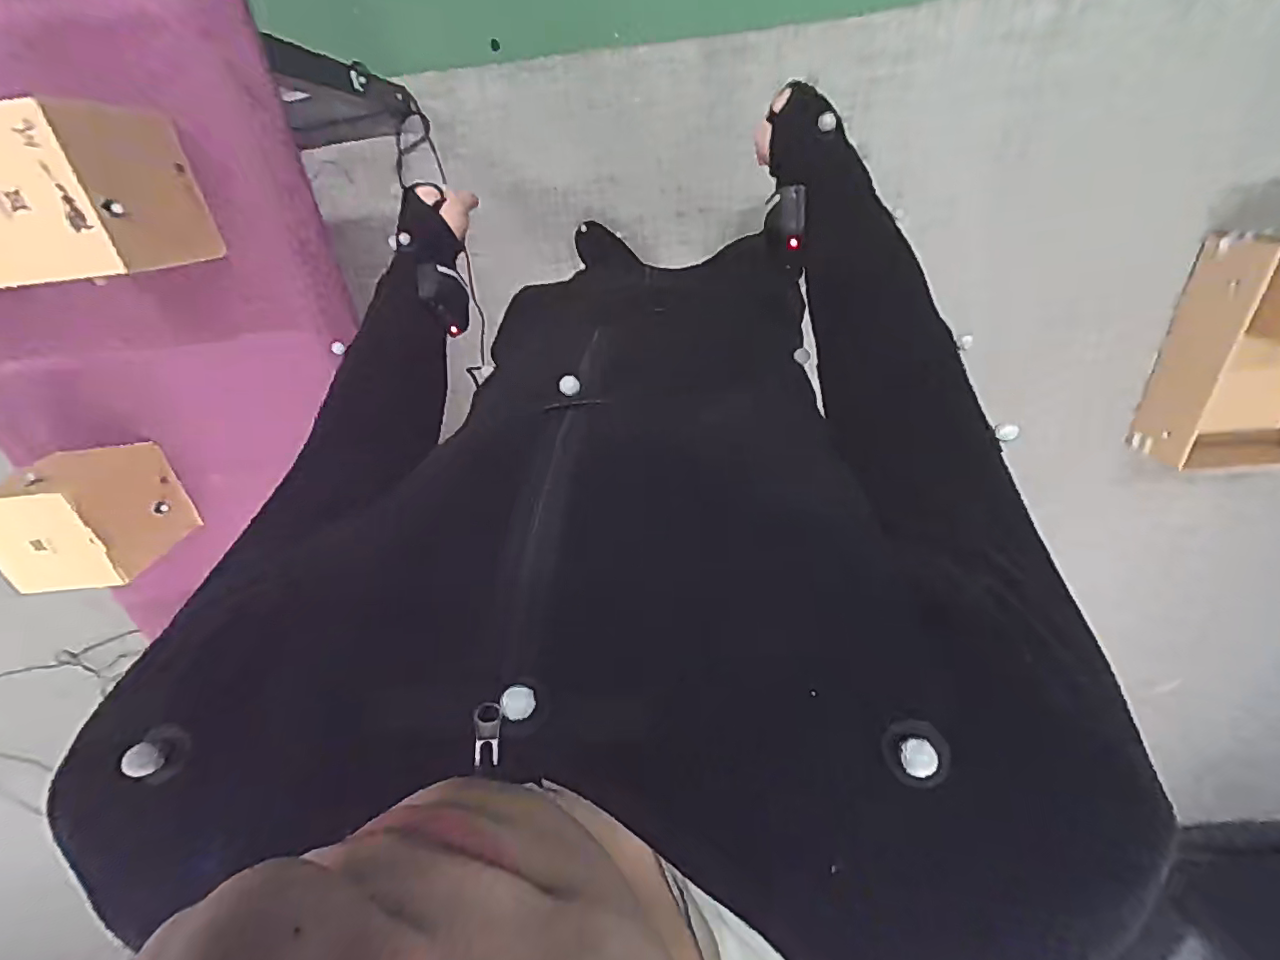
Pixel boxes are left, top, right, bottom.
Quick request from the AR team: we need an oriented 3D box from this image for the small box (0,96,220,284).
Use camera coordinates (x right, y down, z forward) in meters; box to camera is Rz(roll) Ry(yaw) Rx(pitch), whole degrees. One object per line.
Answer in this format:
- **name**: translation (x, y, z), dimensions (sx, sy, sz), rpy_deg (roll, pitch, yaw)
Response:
- **small box**: translation (-0.659, -0.334, 0.634), dimensions (0.179, 0.176, 0.168), rpy_deg (-4, 120, 4)

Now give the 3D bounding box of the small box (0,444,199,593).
- **small box**: translation (-0.870, 0.055, 0.856), dimensions (0.179, 0.176, 0.168), rpy_deg (-6, 119, 2)
